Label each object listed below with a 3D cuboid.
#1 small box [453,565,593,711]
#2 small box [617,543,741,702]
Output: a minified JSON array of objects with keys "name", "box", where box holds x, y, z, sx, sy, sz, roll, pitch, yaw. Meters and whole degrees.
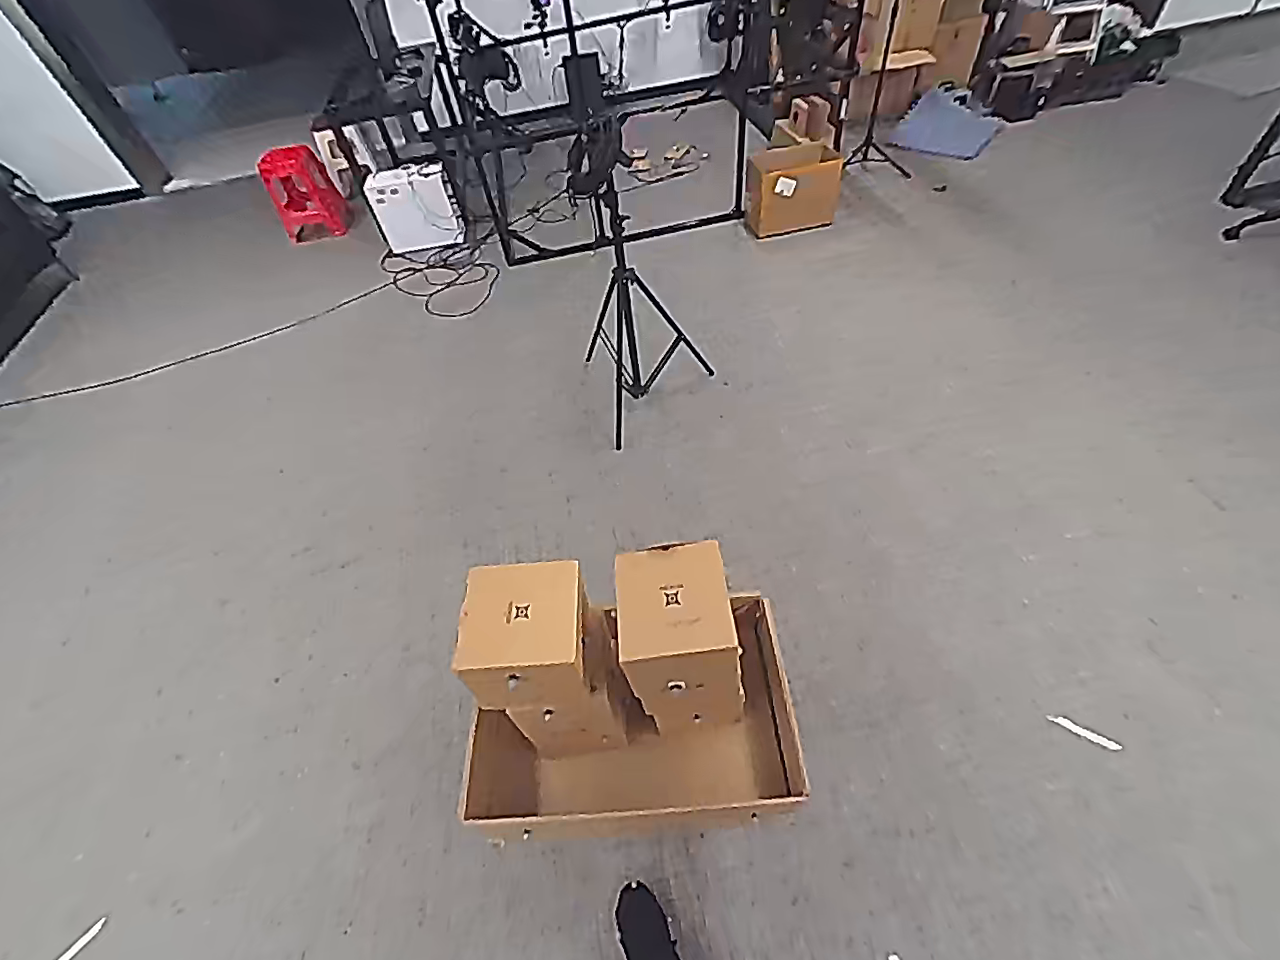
[{"name":"small box","box":[-0.169,0.251,0.852,0.179,0.176,0.168,-5,50,1]},{"name":"small box","box":[0.059,0.223,0.842,0.168,0.176,0.179,-9,49,3]}]
